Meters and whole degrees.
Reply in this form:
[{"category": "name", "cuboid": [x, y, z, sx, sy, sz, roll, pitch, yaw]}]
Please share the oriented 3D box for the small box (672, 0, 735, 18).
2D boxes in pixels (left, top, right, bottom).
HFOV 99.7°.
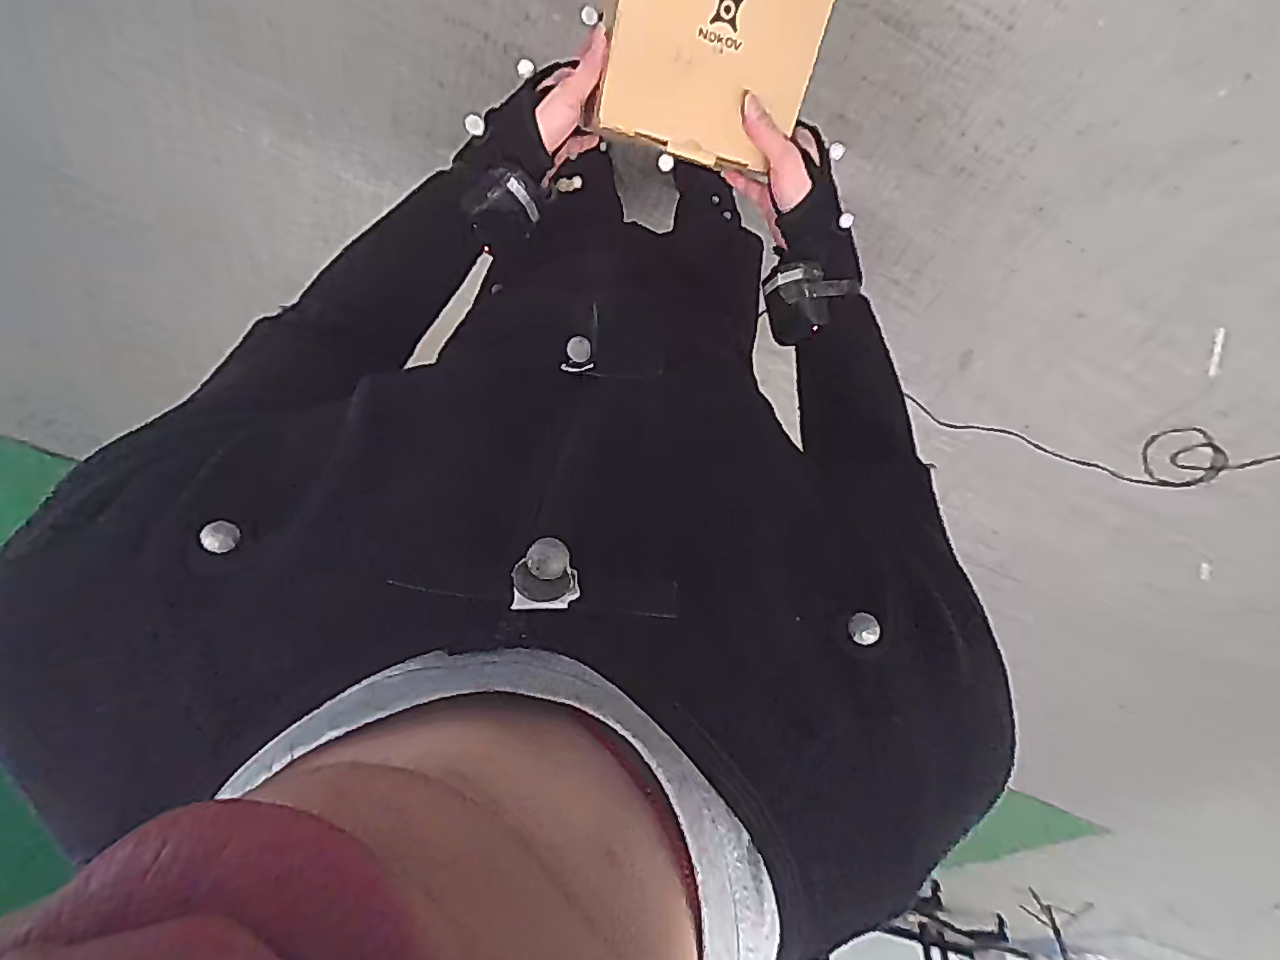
[{"category": "small box", "cuboid": [0.132, -0.941, 0.940, 0.168, 0.176, 0.179, -6, 128, 17]}]
